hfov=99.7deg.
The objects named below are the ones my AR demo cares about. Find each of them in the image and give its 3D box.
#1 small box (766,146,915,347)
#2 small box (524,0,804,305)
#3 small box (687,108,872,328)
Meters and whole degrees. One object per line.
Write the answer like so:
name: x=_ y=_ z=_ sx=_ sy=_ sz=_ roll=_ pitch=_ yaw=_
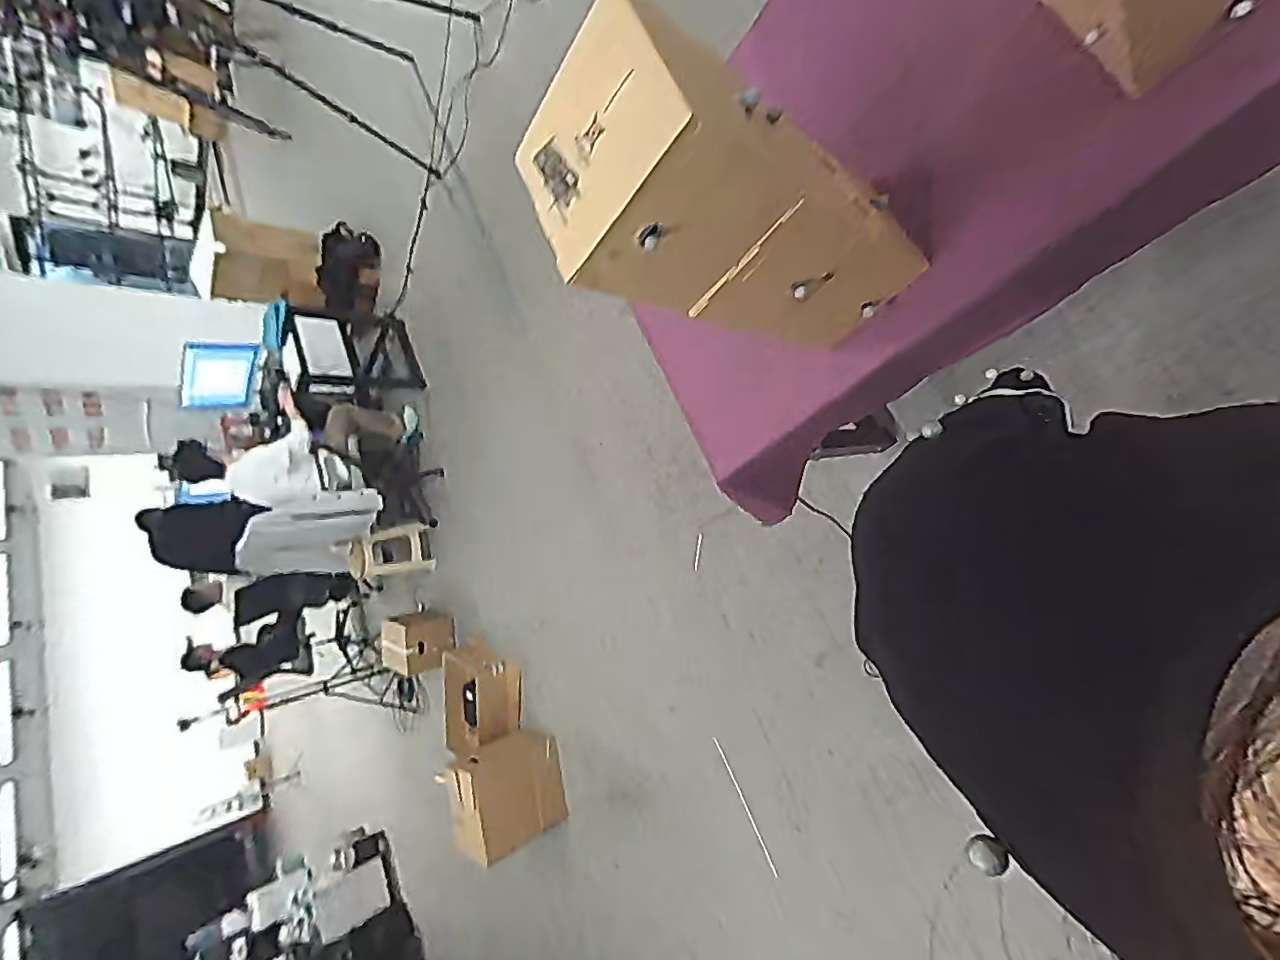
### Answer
small box: x=0.253 y=-0.308 z=0.753 sx=0.179 sy=0.176 sz=0.168 roll=-41 pitch=65 yaw=39
small box: x=0.021 y=-0.294 z=0.519 sx=0.179 sy=0.176 sz=0.168 roll=-37 pitch=68 yaw=40
small box: x=0.134 y=-0.302 z=0.638 sx=0.168 sy=0.176 sz=0.179 roll=-39 pitch=67 yaw=40
